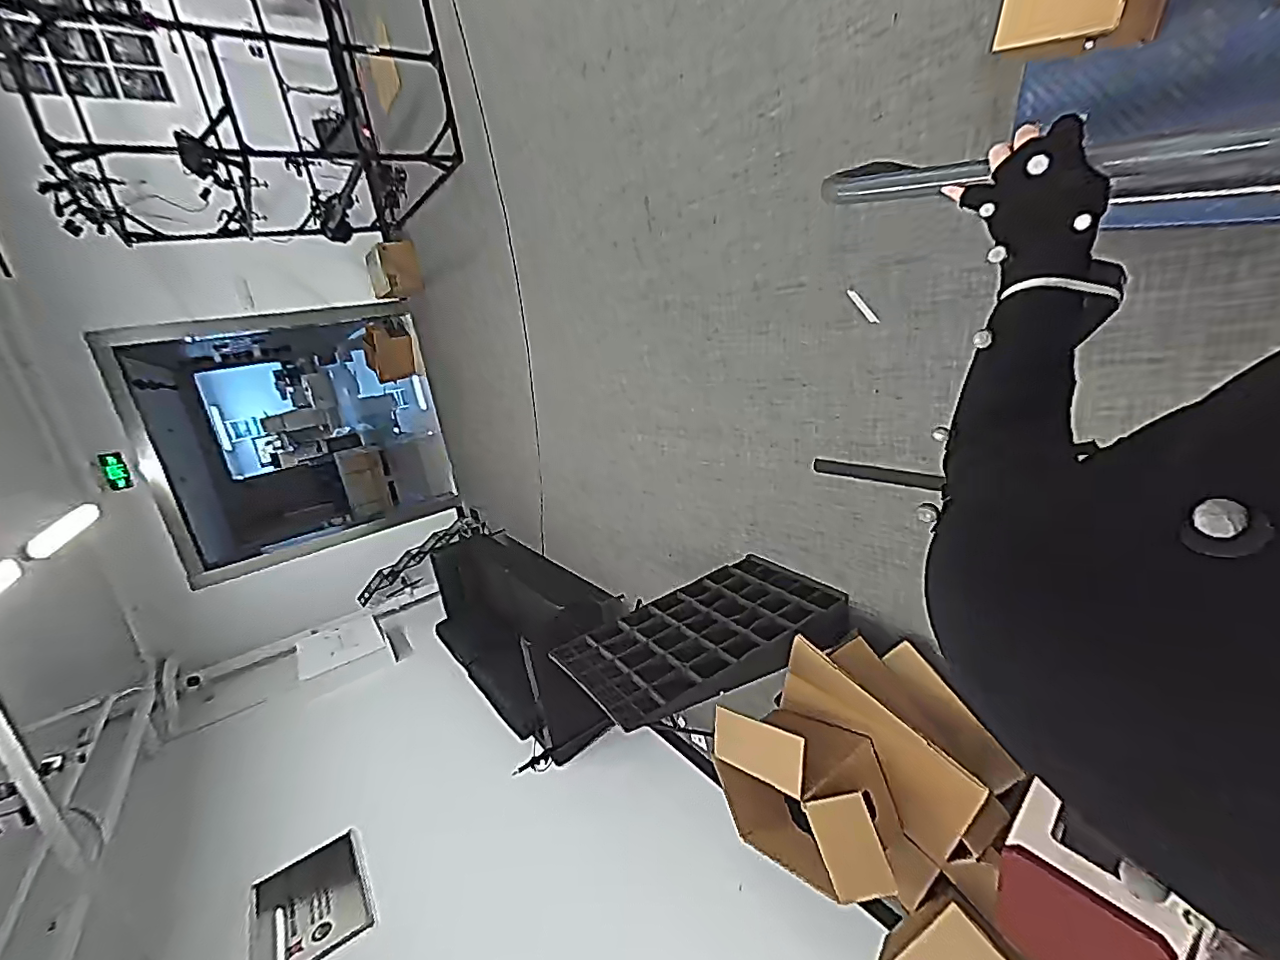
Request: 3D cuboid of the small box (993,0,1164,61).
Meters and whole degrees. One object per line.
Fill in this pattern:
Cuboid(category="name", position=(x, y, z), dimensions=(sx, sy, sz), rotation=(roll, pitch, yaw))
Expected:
Cuboid(category="small box", position=(0.712, -0.790, 0.859), dimensions=(0.179, 0.176, 0.168), rotation=(31, 130, 45))
